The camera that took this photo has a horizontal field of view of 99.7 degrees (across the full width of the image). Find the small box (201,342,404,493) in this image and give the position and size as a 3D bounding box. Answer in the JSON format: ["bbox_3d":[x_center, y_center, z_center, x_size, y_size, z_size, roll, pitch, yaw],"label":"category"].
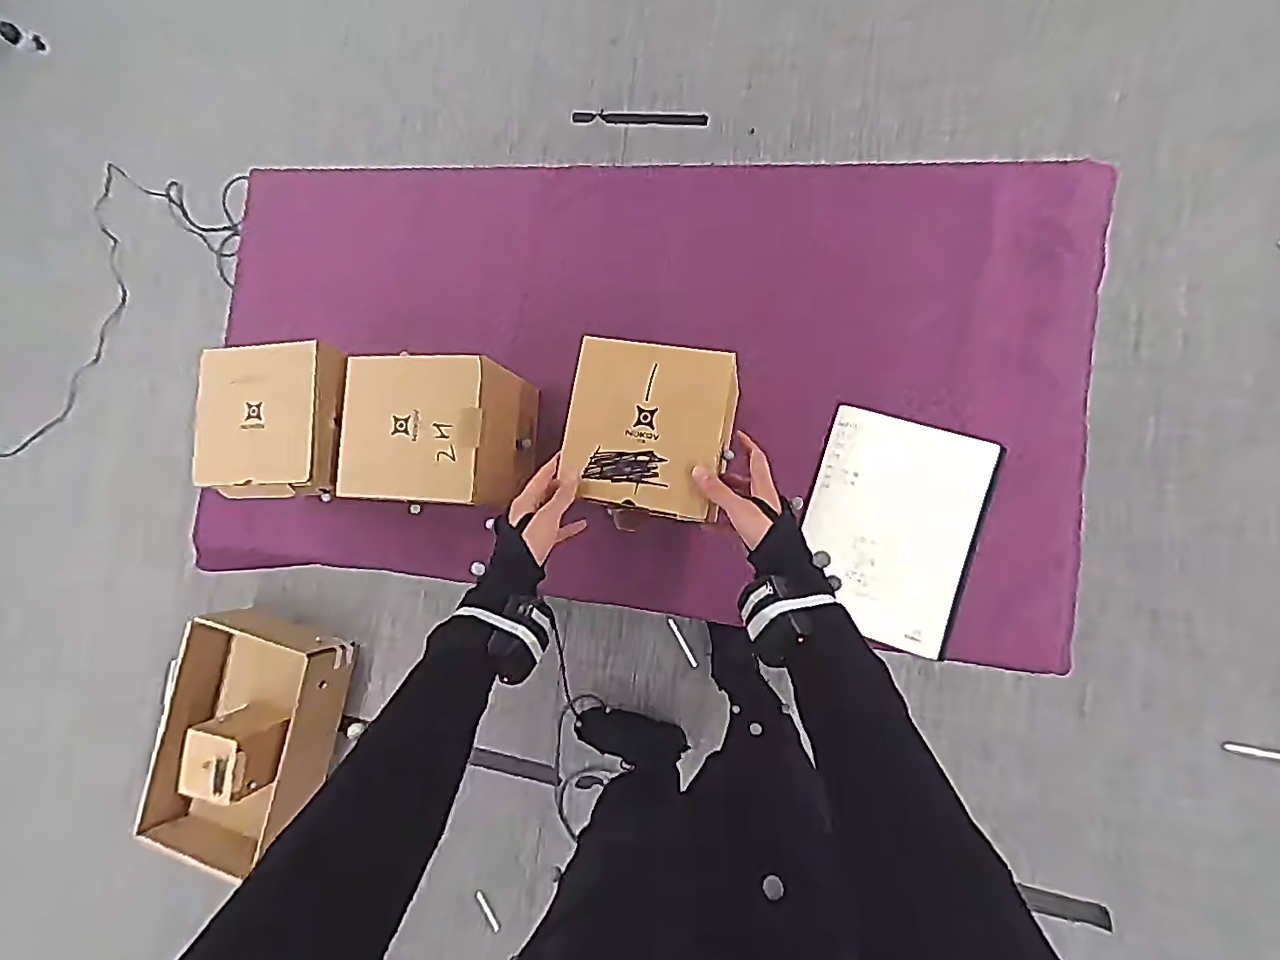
[{"bbox_3d":[-0.443,-0.072,0.733,0.168,0.176,0.179,-1,85,10],"label":"small box"}]

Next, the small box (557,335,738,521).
[{"bbox_3d":[0.021,-0.050,0.636,0.168,0.176,0.179,10,86,12],"label":"small box"}]
